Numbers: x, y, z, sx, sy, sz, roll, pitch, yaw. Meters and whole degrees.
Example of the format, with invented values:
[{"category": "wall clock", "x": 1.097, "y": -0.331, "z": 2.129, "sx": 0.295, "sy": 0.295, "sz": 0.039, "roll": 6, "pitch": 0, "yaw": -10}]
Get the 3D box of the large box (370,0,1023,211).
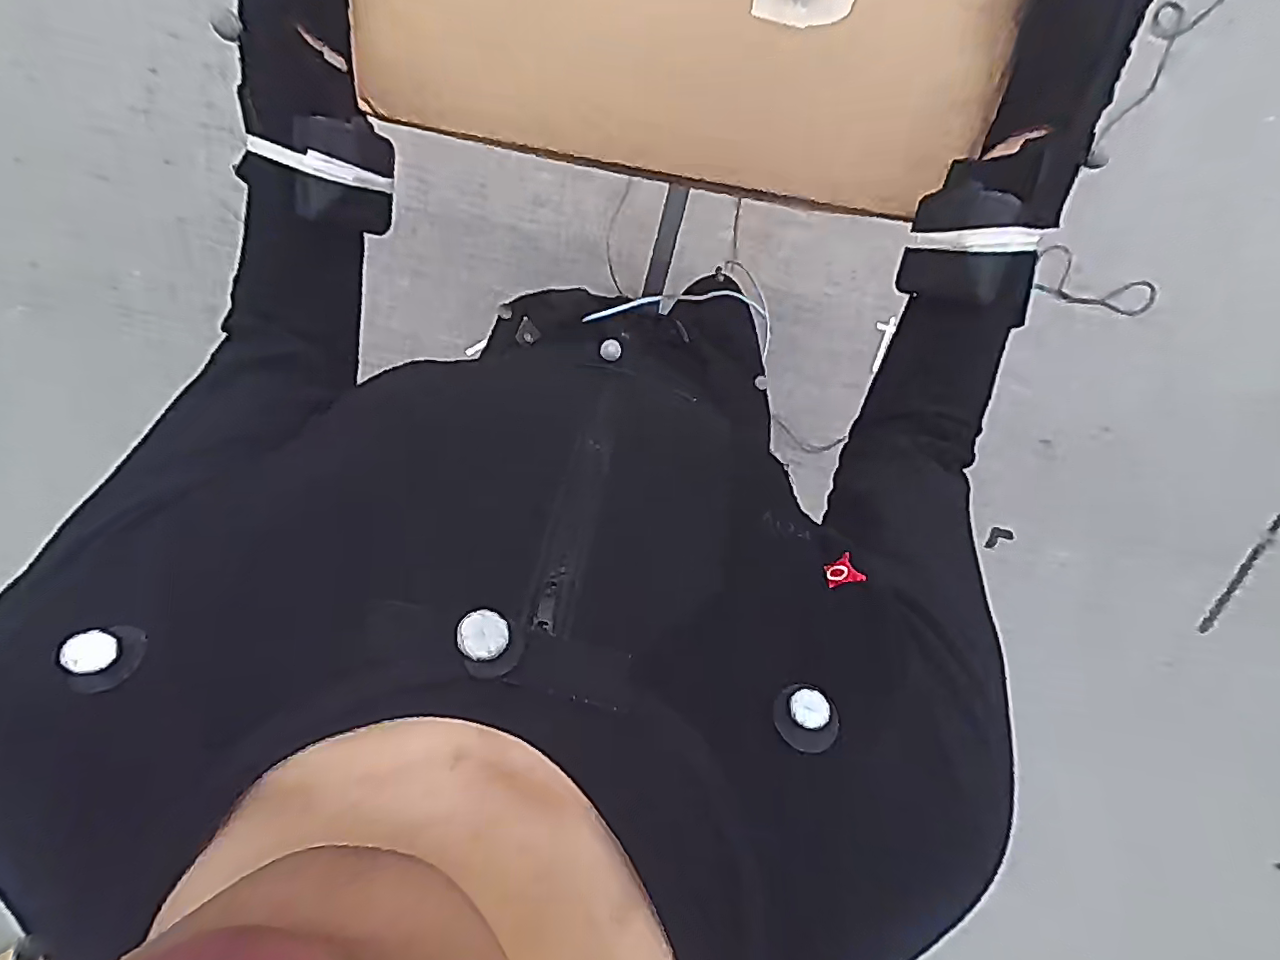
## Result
[{"category": "large box", "x": 0.045, "y": -0.420, "z": 0.432, "sx": 0.408, "sy": 0.320, "sz": 0.320, "roll": 9, "pitch": 119, "yaw": -2}]
